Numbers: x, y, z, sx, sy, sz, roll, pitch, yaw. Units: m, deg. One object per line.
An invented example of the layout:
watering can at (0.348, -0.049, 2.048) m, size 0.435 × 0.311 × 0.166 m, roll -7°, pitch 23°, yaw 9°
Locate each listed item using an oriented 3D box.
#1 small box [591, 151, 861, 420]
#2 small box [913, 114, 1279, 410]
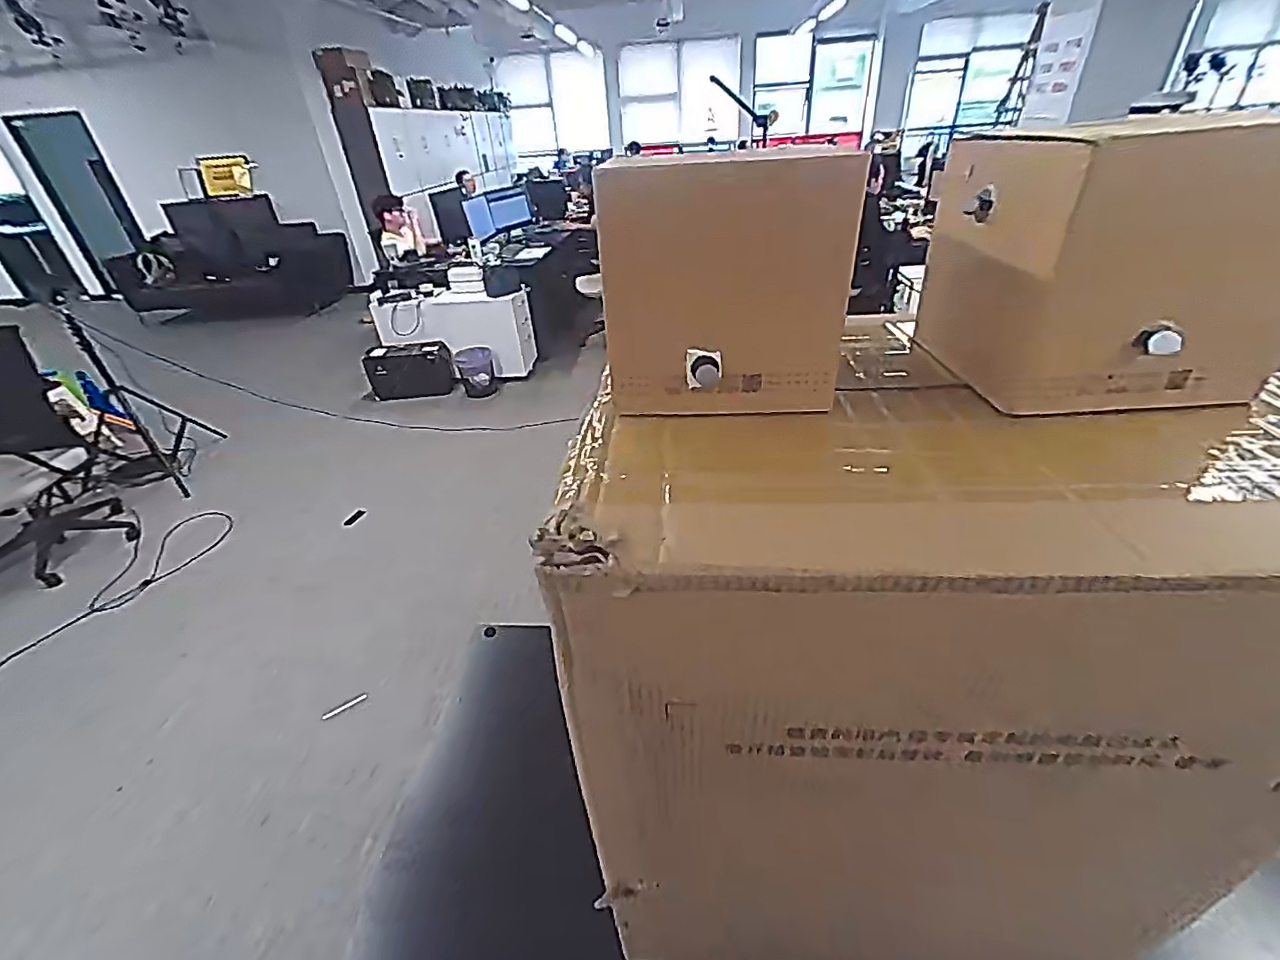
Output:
small box at (0.058, -0.161, 0.437) m, size 0.168 × 0.176 × 0.179 m, roll -3°, pitch 34°, yaw 4°
small box at (0.328, -0.164, 0.404) m, size 0.168 × 0.176 × 0.179 m, roll -3°, pitch 33°, yaw 4°
